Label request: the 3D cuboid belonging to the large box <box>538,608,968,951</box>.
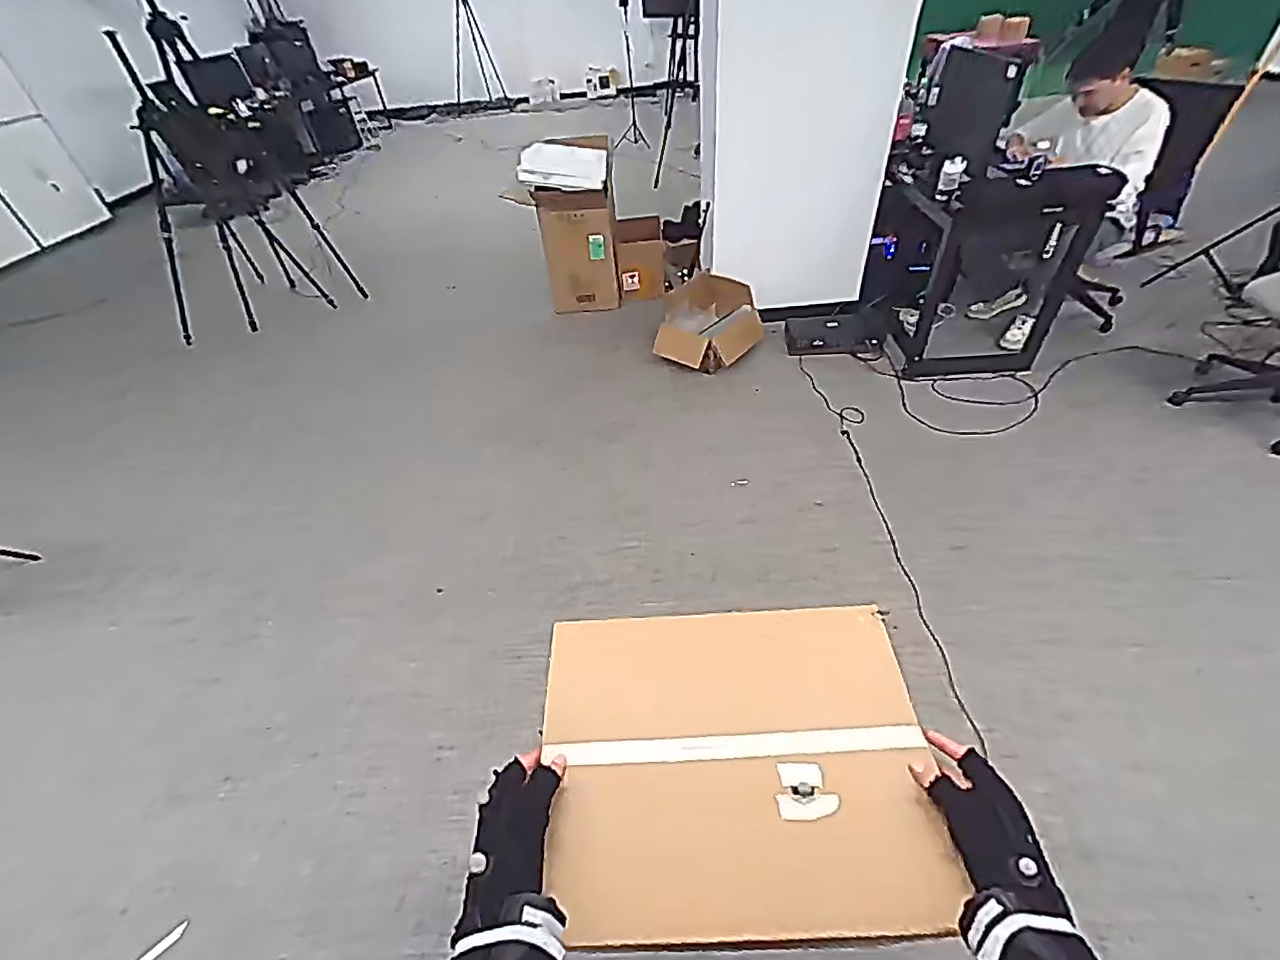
[{"bbox_3d":[0.104,0.390,0.700,0.408,0.320,0.320,-4,48,1],"label":"large box"}]
